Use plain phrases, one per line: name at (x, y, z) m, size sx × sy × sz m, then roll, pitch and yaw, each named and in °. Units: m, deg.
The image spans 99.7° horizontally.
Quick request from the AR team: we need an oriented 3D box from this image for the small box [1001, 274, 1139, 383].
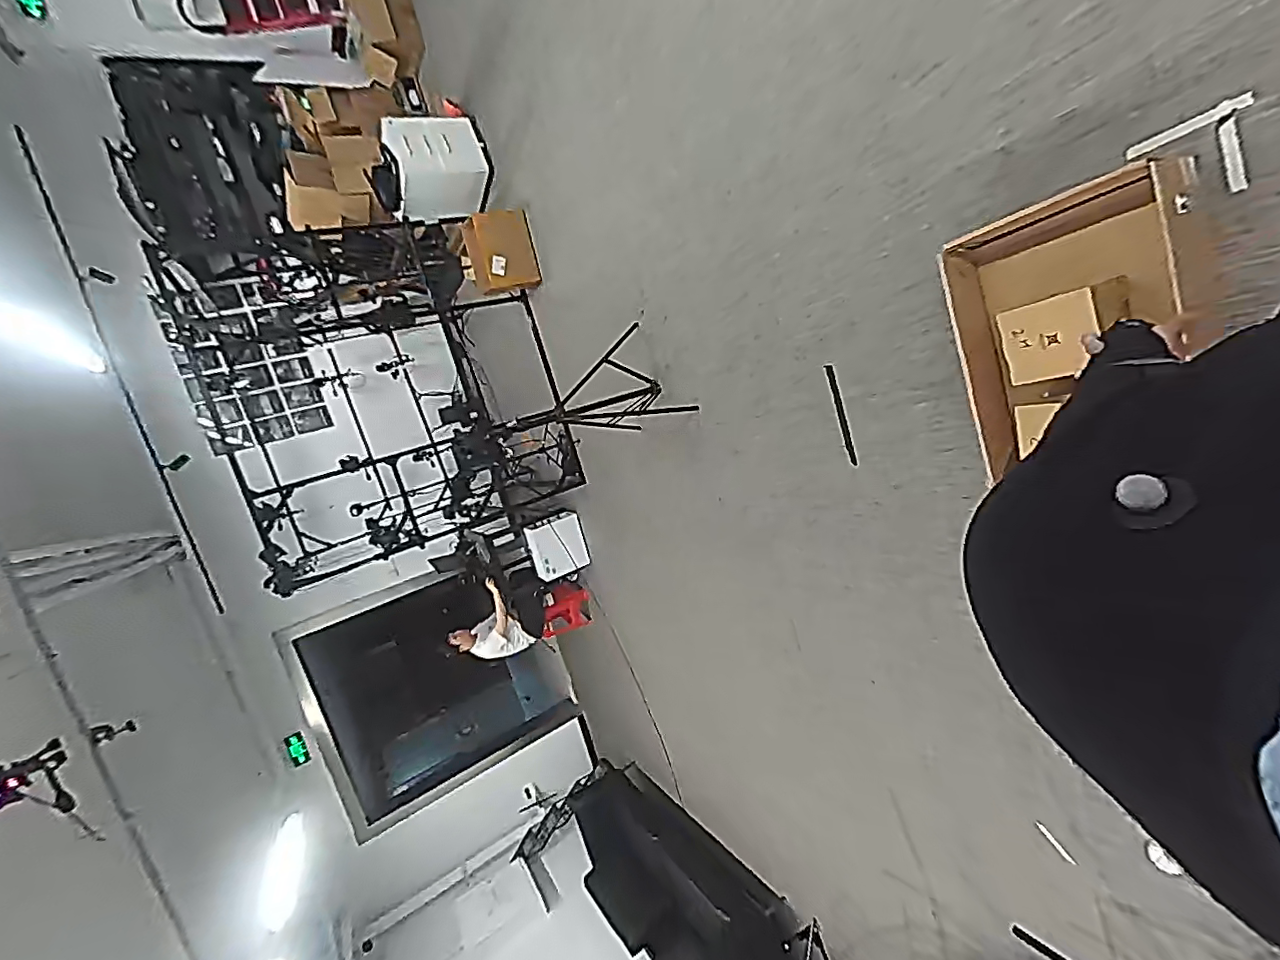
small box at (0.920, -0.322, 1.152) m, size 0.179 × 0.176 × 0.168 m, roll -6°, pitch 103°, yaw 62°
